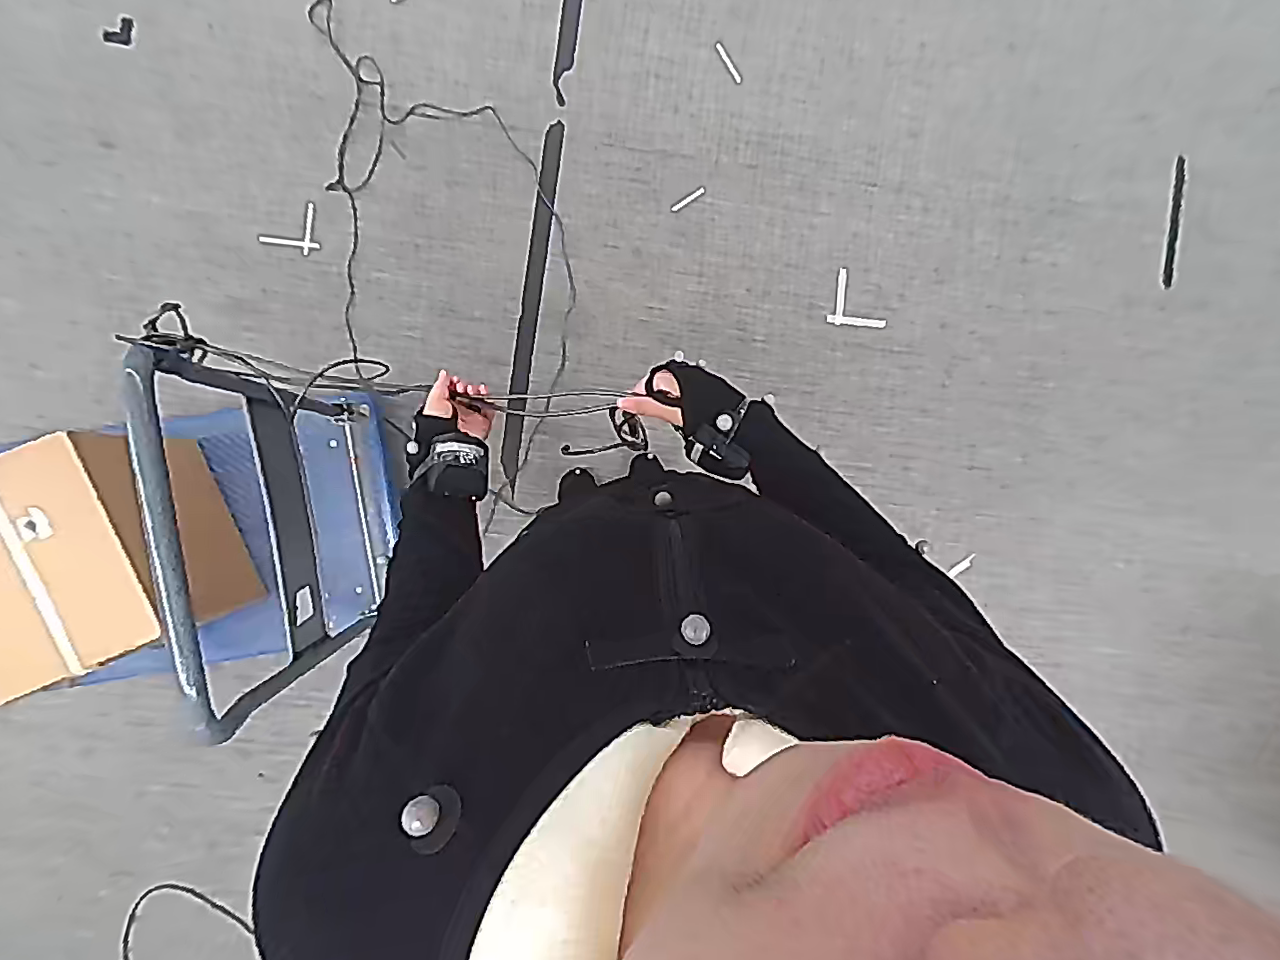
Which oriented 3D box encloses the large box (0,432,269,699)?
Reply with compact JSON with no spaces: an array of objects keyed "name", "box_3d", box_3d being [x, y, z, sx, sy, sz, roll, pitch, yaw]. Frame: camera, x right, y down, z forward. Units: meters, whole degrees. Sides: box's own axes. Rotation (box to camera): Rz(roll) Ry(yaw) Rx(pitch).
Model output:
[{"name":"large box","box_3d":[-1.075,0.152,1.109,0.320,0.320,0.408,-24,92,-3]}]
